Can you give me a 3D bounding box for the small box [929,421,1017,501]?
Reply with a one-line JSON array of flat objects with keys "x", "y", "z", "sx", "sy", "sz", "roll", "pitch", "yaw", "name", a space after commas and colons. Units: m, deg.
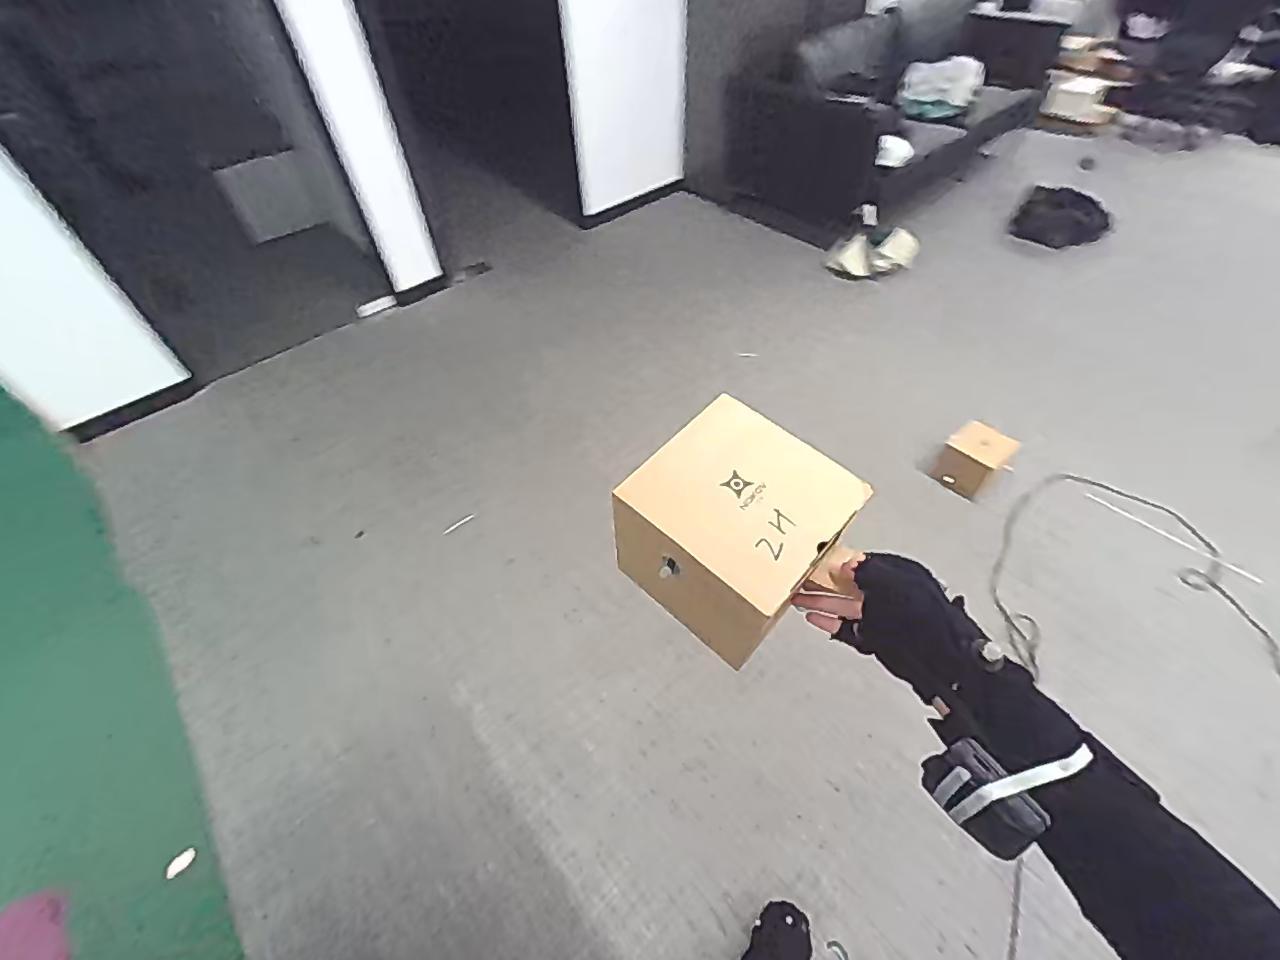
[{"x": 1.123, "y": -0.064, "z": 1.838, "sx": 0.179, "sy": 0.176, "sz": 0.168, "roll": -33, "pitch": 54, "yaw": -23, "name": "small box"}]
